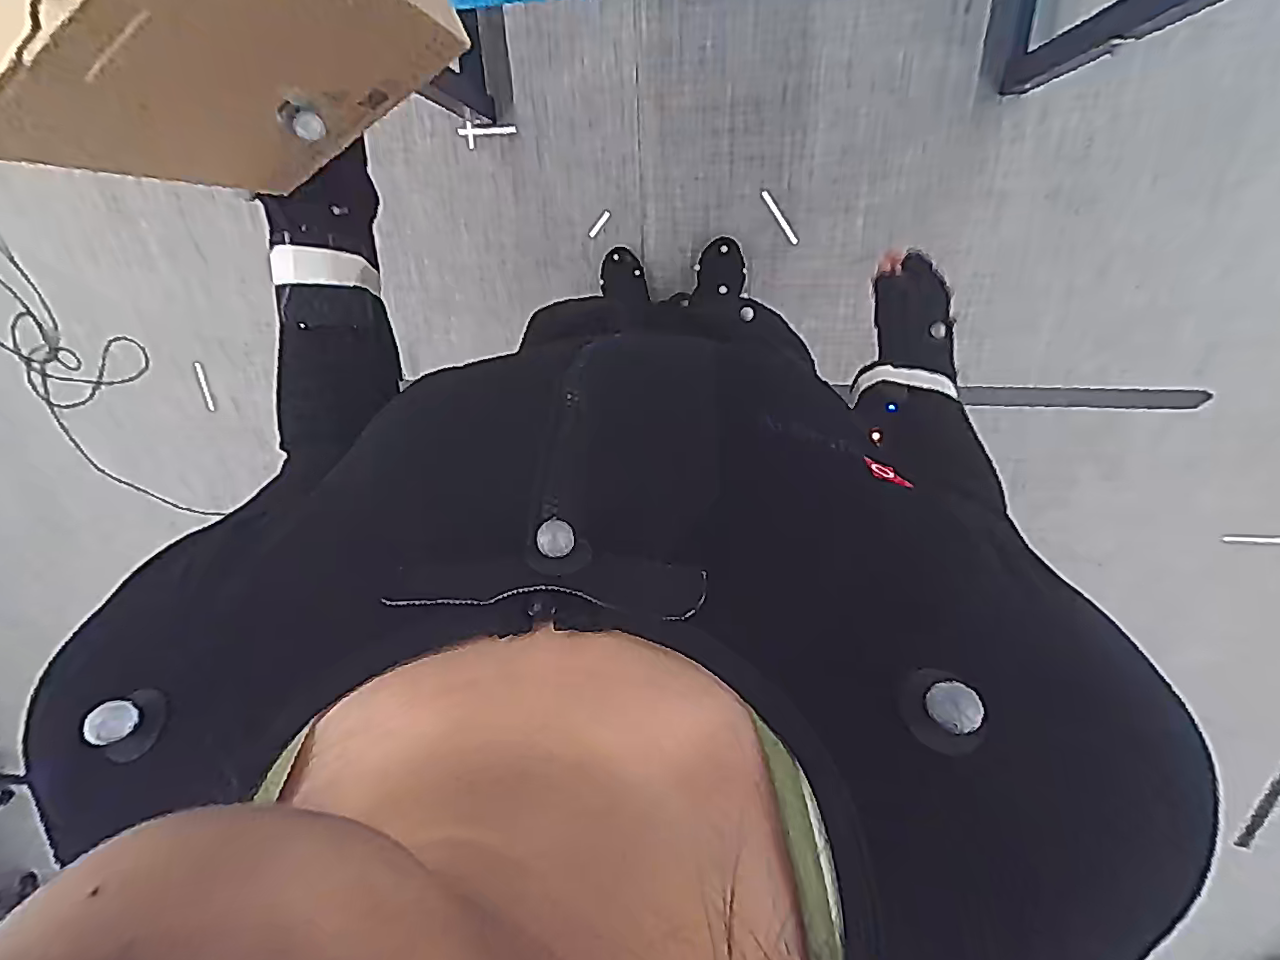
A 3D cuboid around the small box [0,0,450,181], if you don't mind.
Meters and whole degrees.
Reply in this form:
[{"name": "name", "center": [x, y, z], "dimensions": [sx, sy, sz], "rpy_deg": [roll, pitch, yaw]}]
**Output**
[{"name": "small box", "center": [-0.224, -0.259, 0.237], "dimensions": [0.168, 0.176, 0.179], "rpy_deg": [-17, 110, 21]}]
